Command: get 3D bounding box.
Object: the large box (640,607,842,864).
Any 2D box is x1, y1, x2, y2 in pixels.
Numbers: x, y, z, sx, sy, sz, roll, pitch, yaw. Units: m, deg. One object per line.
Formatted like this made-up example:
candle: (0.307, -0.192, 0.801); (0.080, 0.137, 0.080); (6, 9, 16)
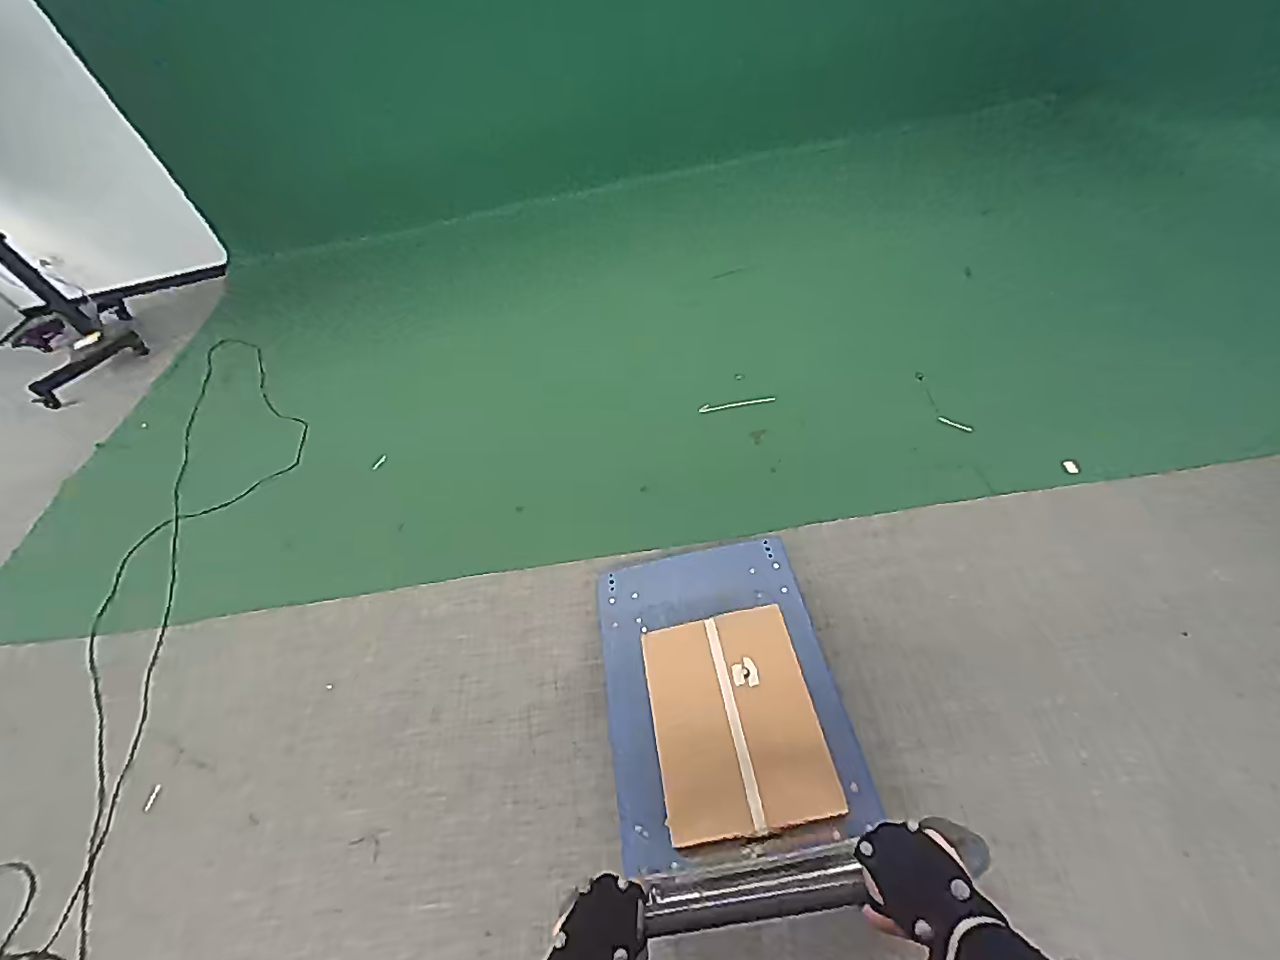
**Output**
large box: (0.207, 0.558, 1.186); (0.320, 0.320, 0.408); (-13, 48, 3)
